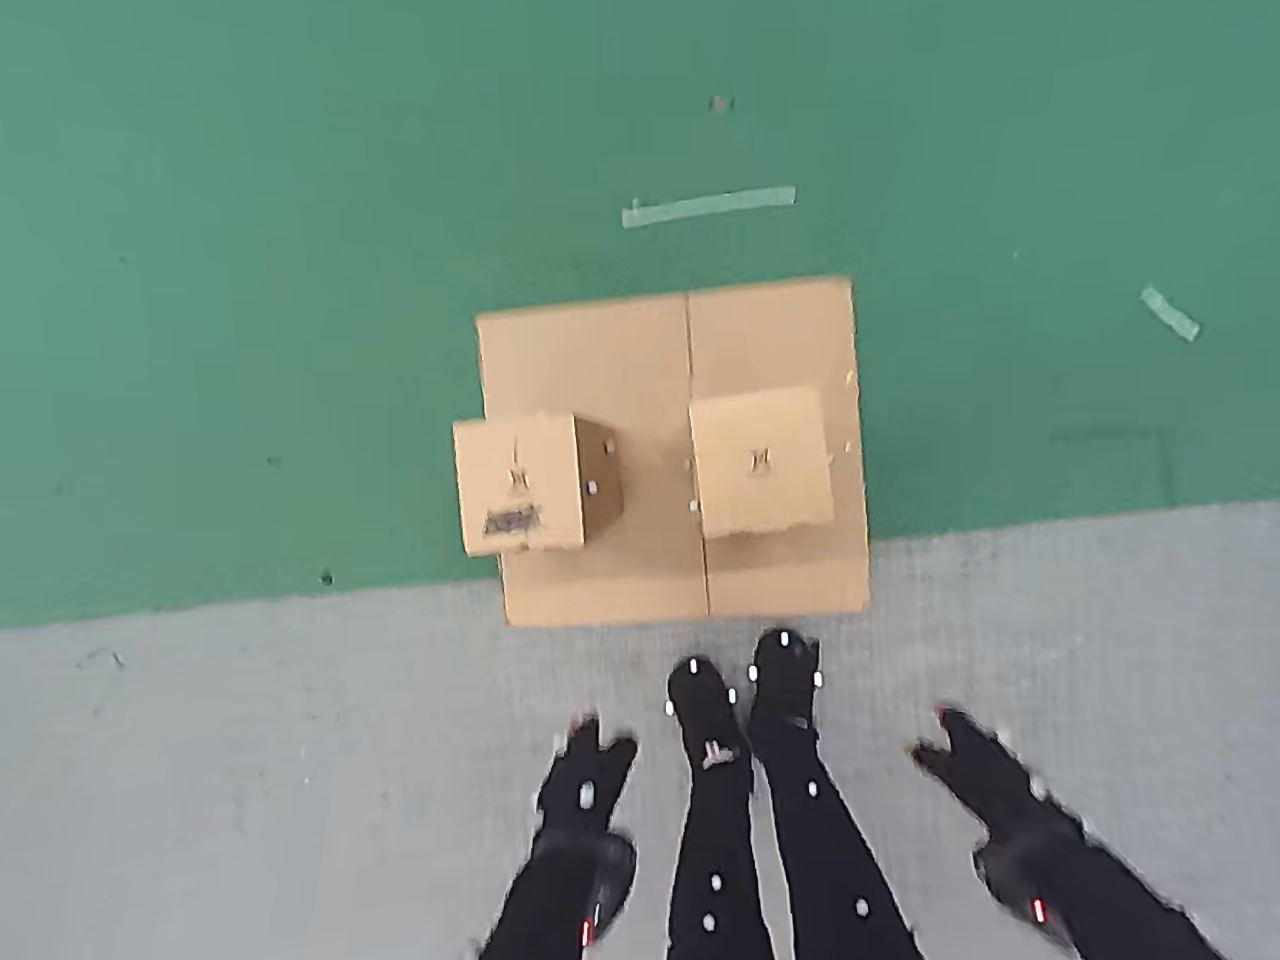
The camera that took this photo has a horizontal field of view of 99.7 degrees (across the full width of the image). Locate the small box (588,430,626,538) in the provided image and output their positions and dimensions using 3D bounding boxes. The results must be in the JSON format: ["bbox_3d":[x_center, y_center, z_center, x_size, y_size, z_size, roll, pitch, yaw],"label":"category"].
[{"bbox_3d":[-0.123,0.011,0.954,0.168,0.176,0.179,-6,92,7],"label":"small box"}]

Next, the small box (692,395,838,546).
[{"bbox_3d":[0.165,-0.012,0.762,0.168,0.176,0.179,-8,91,6],"label":"small box"}]

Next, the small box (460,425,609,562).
[{"bbox_3d":[-0.143,0.016,0.791,0.168,0.176,0.179,-4,91,7],"label":"small box"}]
